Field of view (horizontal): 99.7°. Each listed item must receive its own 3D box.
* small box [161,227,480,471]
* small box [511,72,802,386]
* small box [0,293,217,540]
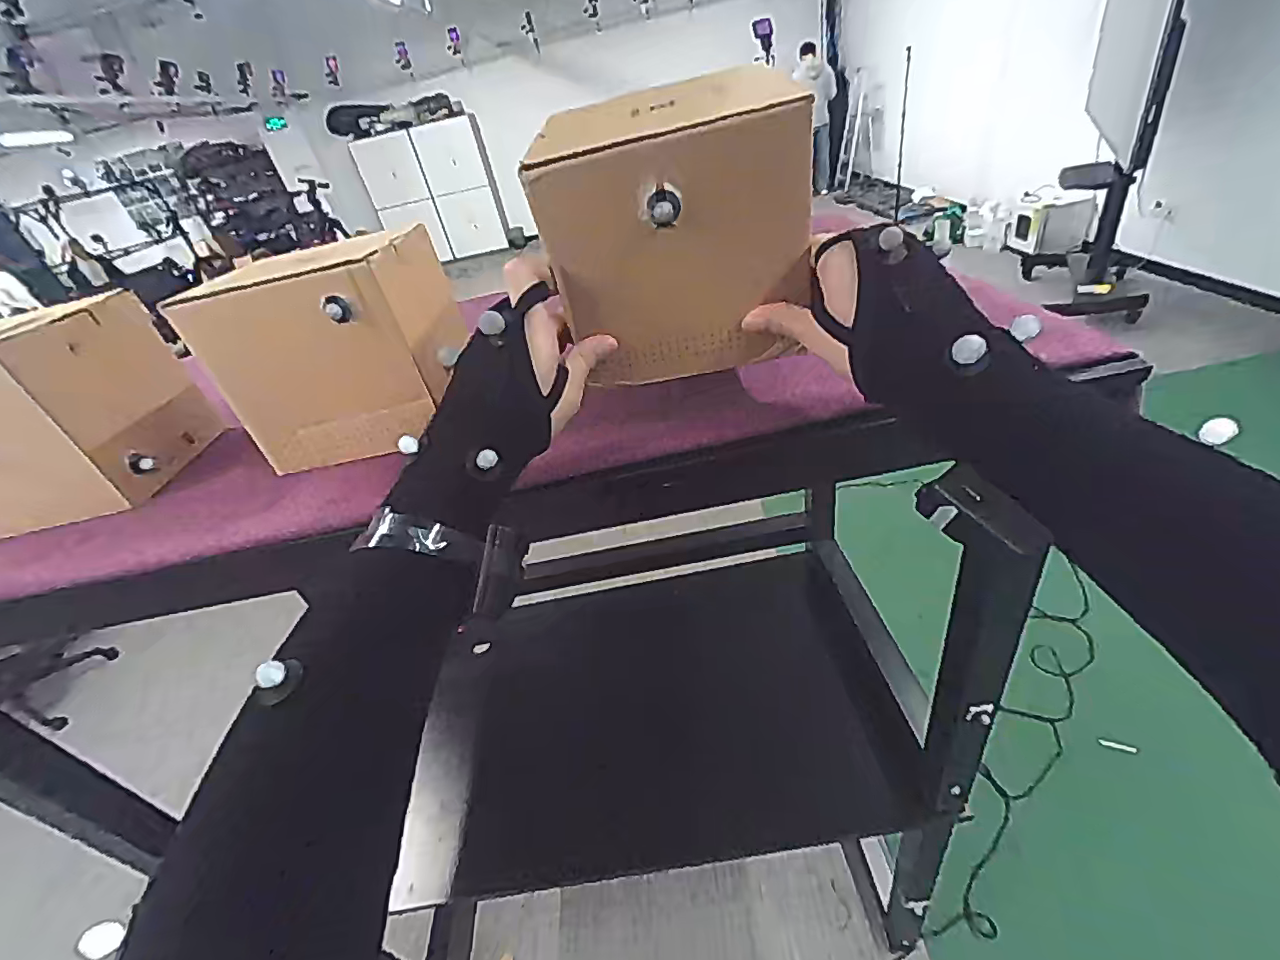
[{"bbox_3d":[-0.280,-0.126,0.526,0.179,0.176,0.168,-11,34,3],"label":"small box"},{"bbox_3d":[0.024,-0.190,0.423,0.179,0.176,0.168,-8,42,8],"label":"small box"},{"bbox_3d":[-0.583,-0.062,0.534,0.179,0.176,0.168,-13,34,2],"label":"small box"}]
